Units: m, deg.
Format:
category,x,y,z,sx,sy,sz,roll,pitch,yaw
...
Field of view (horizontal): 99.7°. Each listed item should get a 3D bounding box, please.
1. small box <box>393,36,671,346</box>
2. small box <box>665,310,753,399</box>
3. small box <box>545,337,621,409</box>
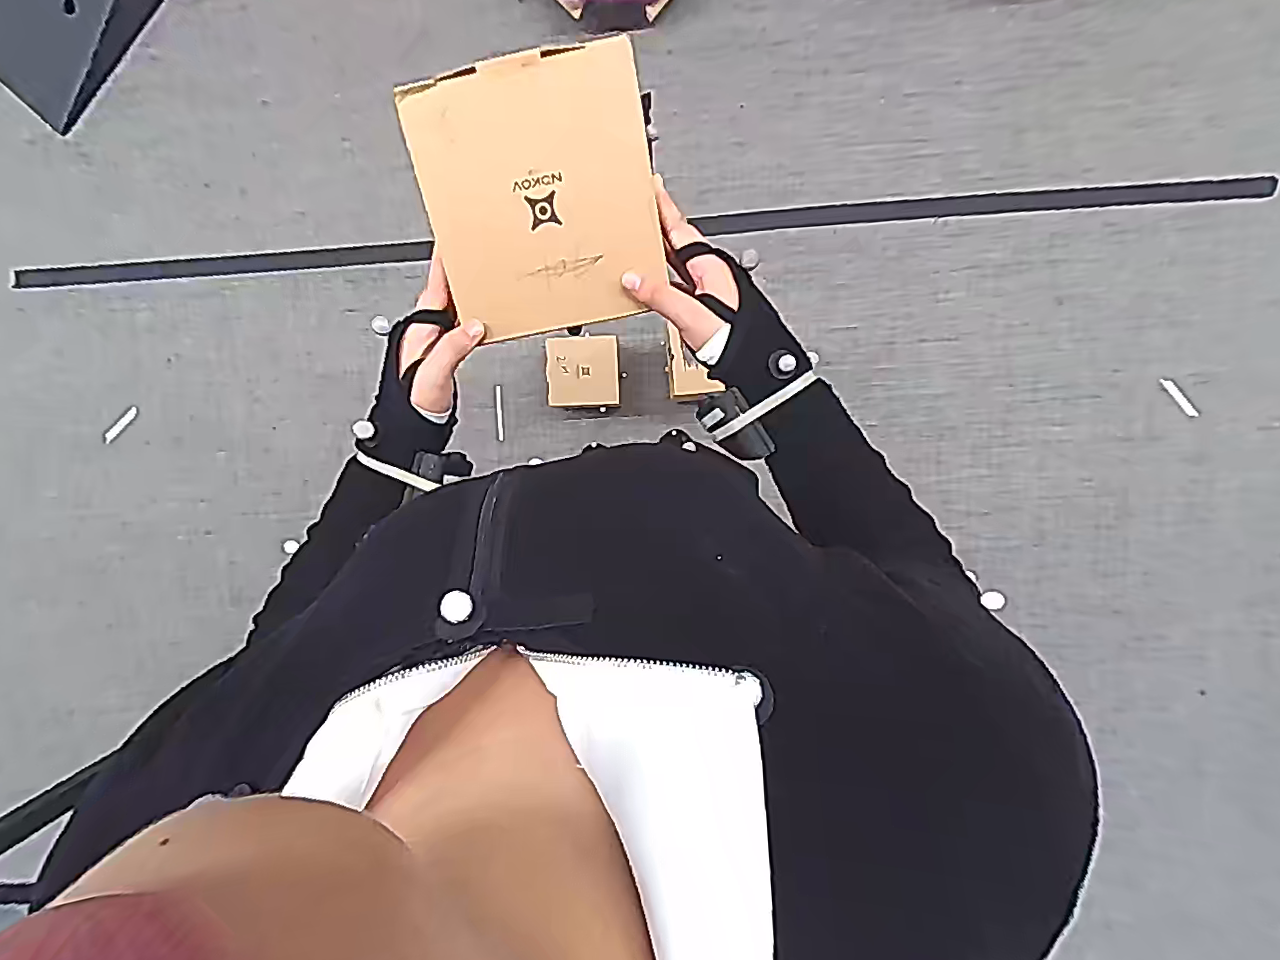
category,x,y,z,sx,sy,sz,roll,pitch,yaw
small box,-0.072,-0.222,0.455,0.168,0.176,0.179,-10,112,3
small box,0.148,-0.272,1.208,0.179,0.176,0.168,-5,96,1
small box,-0.138,-0.269,1.380,0.179,0.176,0.168,-2,96,2
